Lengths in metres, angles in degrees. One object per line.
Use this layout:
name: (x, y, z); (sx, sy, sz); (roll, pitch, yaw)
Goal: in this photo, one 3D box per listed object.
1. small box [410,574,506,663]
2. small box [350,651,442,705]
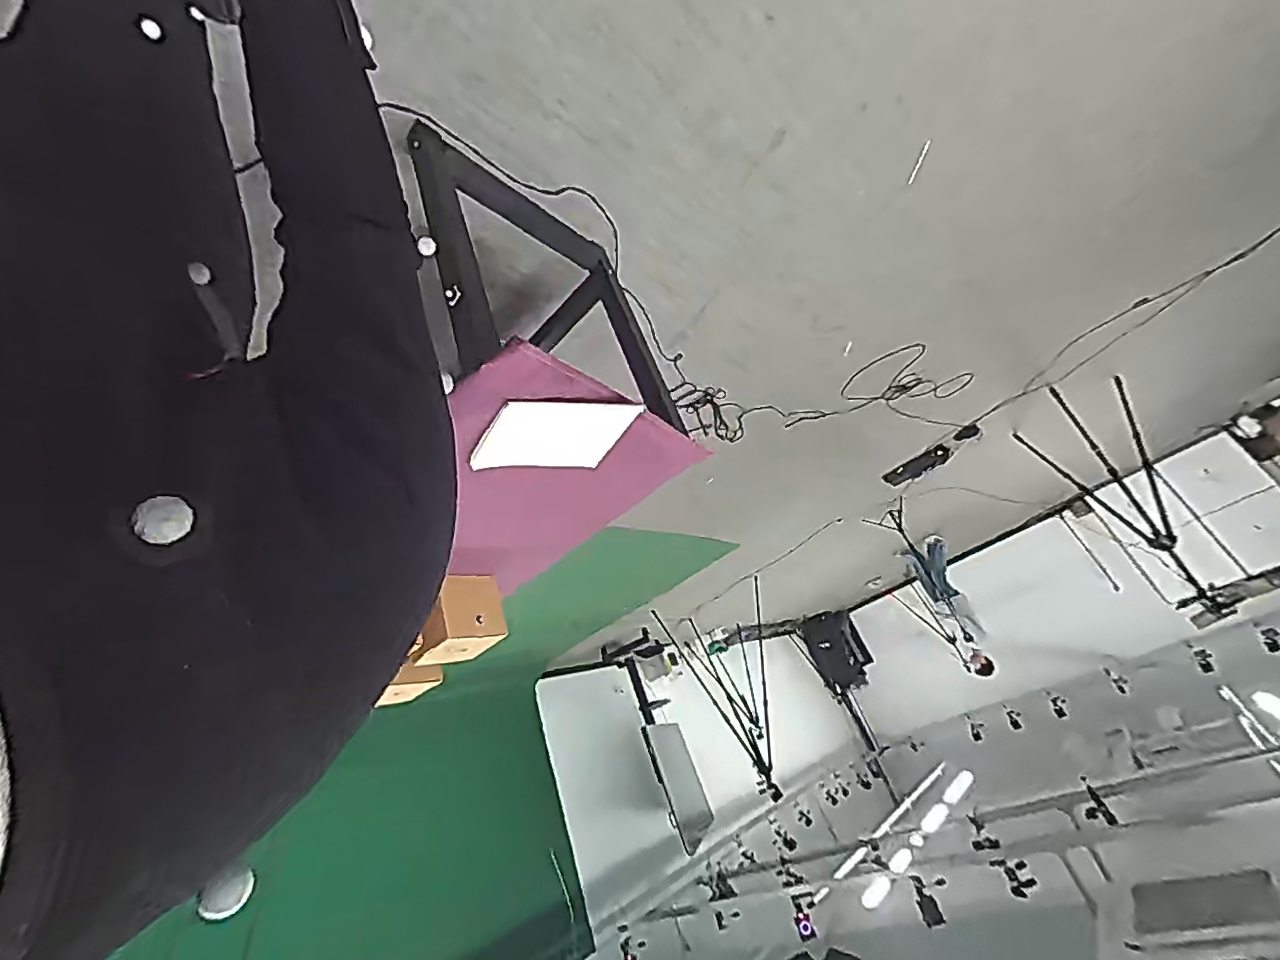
small box: (-0.476, 0.351, 1.387); (0.168, 0.176, 0.179); (-37, 151, 27)
small box: (-0.698, 0.517, 1.534); (0.168, 0.176, 0.179); (-35, 152, 23)
